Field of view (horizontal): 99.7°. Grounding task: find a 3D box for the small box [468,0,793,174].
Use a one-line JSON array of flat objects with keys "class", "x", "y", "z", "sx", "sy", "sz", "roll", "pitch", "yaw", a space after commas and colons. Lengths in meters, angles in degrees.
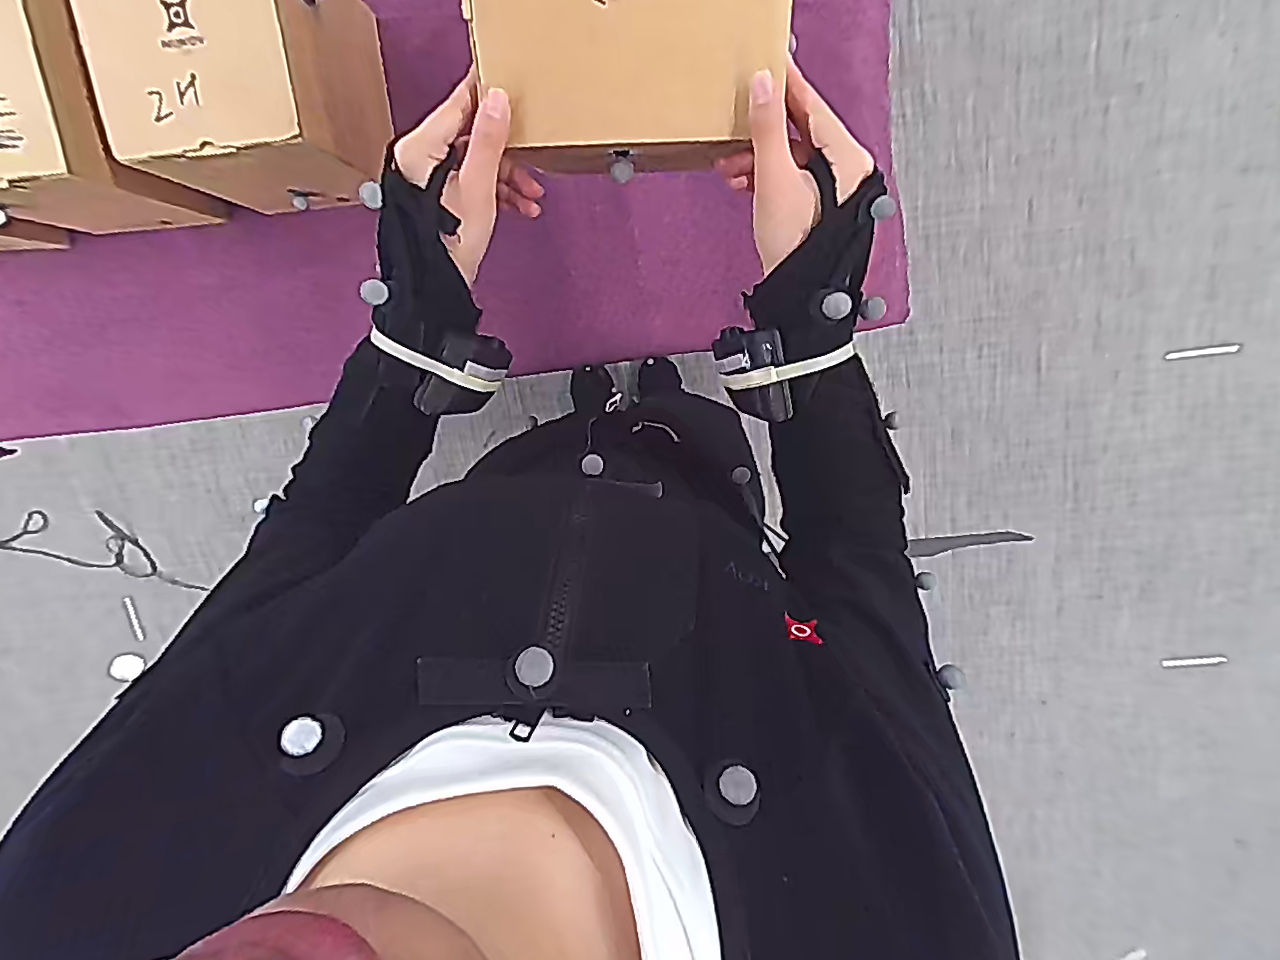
[{"class": "small box", "x": -0.001, "y": -0.302, "z": 0.351, "sx": 0.179, "sy": 0.176, "sz": 0.168, "roll": 1, "pitch": 115, "yaw": 5}]
